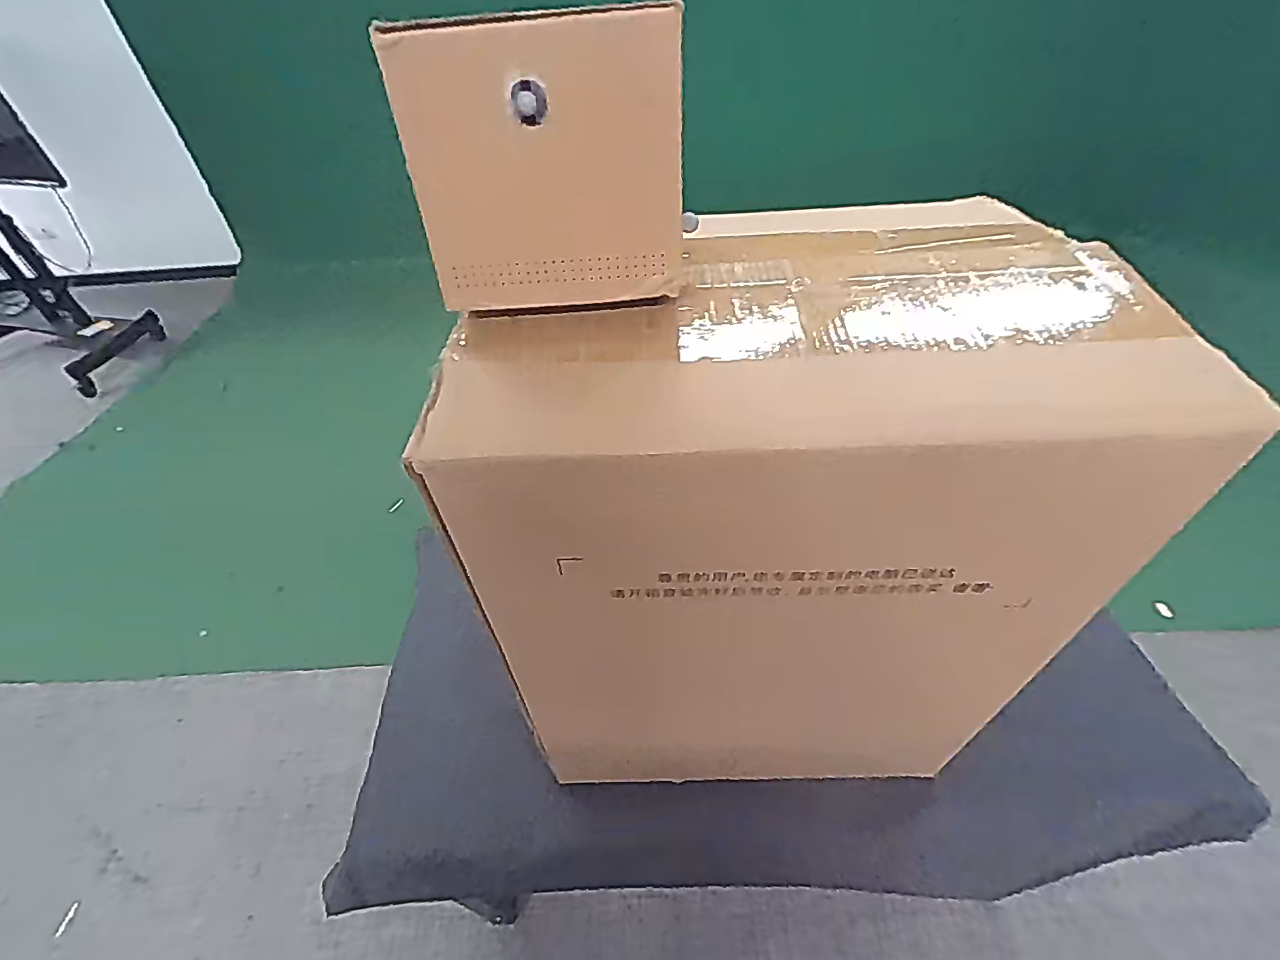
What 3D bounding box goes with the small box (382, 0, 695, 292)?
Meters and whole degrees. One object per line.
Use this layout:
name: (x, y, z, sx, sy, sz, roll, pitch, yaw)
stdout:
small box: (-0.056, -0.248, 0.404, 0.179, 0.176, 0.168, -2, 38, -2)
